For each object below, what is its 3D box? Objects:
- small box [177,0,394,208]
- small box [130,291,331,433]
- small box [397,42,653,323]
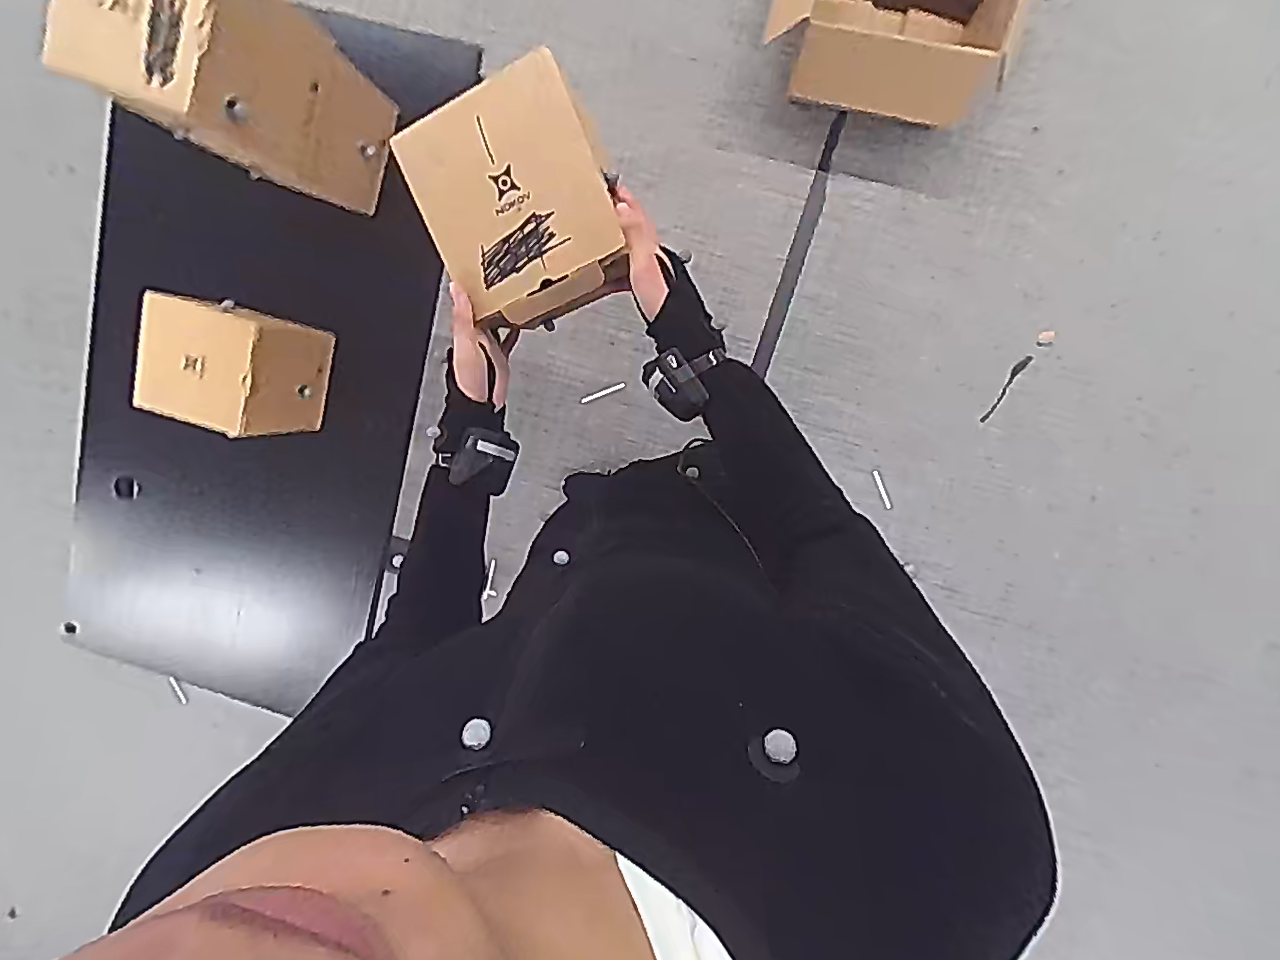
[{"bbox_3d":[-0.492,-0.516,0.770,0.179,0.176,0.168,21,102,3],"label":"small box"},{"bbox_3d":[-0.627,-0.178,0.843,0.179,0.176,0.168,16,100,3],"label":"small box"},{"bbox_3d":[-0.096,-0.270,0.545,0.168,0.176,0.179,-20,99,13],"label":"small box"}]
